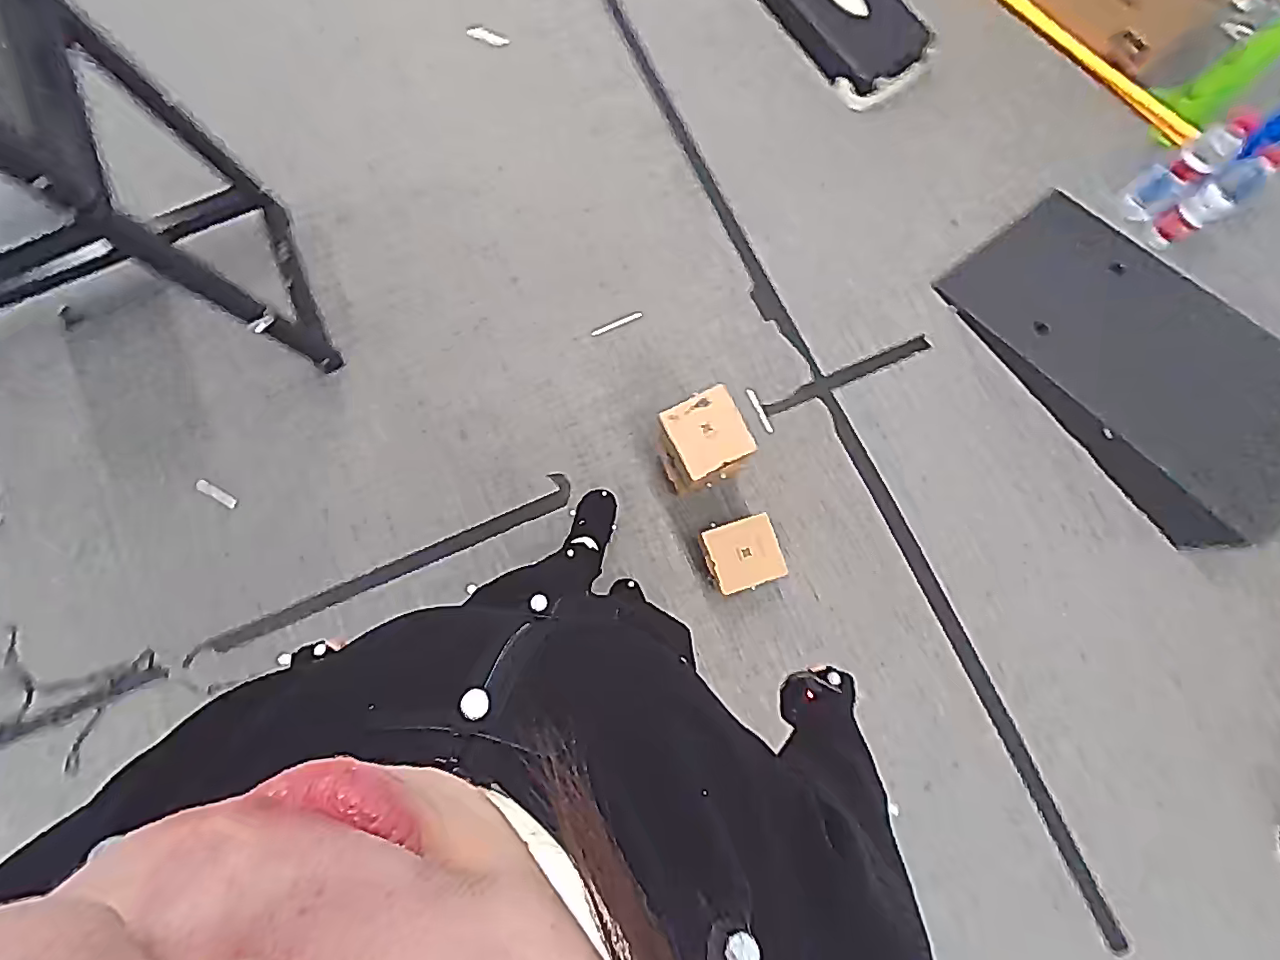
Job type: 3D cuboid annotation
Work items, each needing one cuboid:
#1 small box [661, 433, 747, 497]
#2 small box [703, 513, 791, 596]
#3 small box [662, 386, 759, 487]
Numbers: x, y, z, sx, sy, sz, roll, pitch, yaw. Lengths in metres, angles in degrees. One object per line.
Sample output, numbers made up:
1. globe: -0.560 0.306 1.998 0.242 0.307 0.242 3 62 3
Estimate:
1. small box: 0.165 -0.064 1.449 0.179 0.176 0.168 -21 82 -2
2. small box: 0.269 0.196 1.411 0.179 0.176 0.168 -18 82 -1
3. small box: 0.161 -0.093 1.287 0.168 0.176 0.179 -26 83 -2
